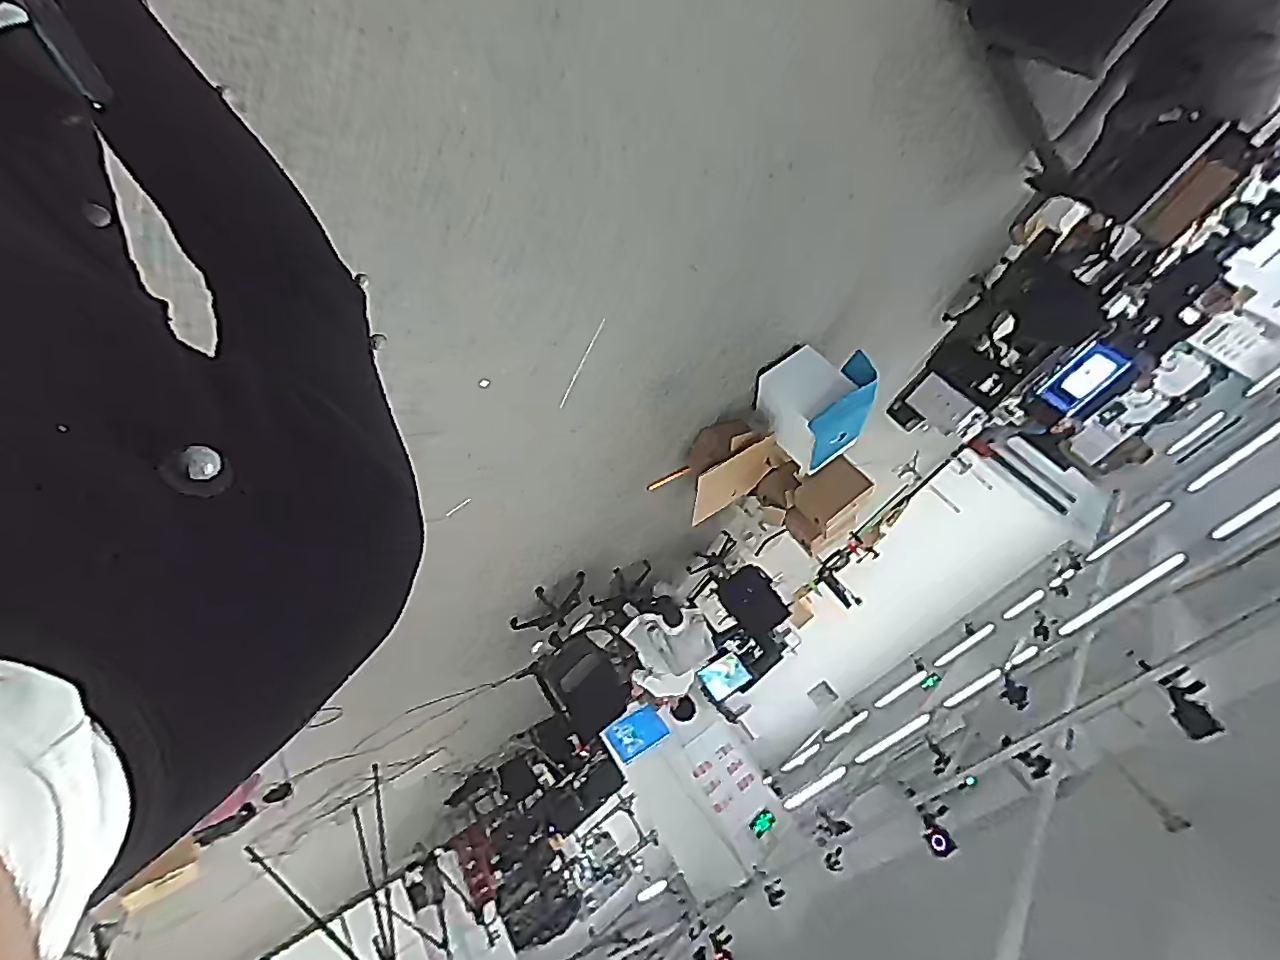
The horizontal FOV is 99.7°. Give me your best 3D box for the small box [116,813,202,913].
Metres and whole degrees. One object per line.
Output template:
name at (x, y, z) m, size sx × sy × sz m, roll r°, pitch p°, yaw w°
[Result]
small box at (-1.434, 1.136, 1.616) m, size 0.168 × 0.176 × 0.179 m, roll -12°, pitch 144°, yaw -43°
